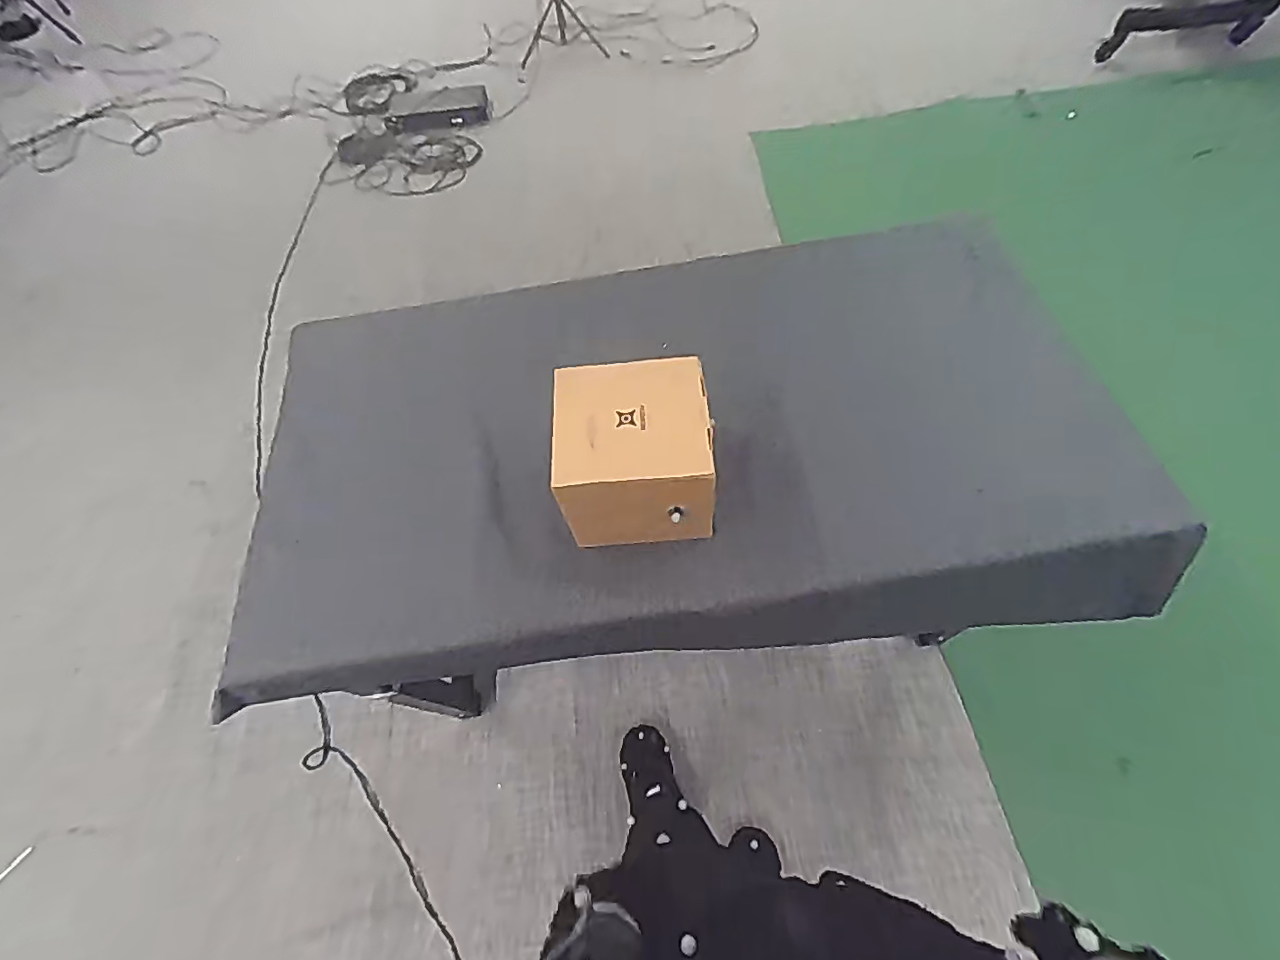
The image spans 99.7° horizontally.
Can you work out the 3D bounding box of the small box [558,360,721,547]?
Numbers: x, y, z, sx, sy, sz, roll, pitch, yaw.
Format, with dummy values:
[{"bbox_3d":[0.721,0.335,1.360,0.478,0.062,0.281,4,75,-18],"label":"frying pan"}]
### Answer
[{"bbox_3d":[0.002,-0.026,0.680,0.179,0.176,0.168,-6,59,4],"label":"small box"}]
